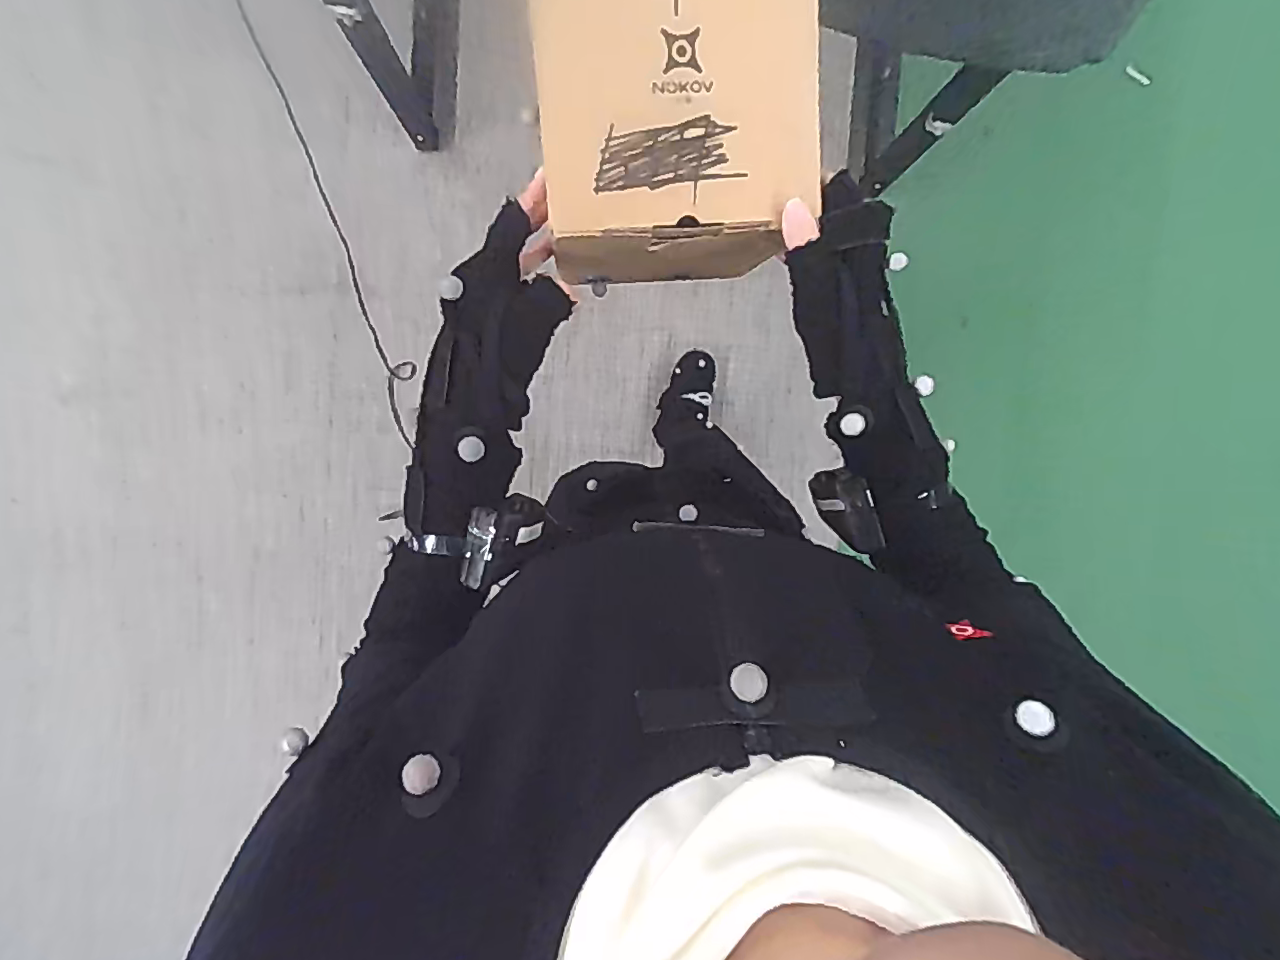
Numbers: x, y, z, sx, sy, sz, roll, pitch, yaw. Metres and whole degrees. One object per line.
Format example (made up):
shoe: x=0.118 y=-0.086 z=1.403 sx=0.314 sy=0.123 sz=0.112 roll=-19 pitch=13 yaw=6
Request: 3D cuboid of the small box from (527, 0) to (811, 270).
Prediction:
small box: x=0.012 y=-0.257 z=0.391 sx=0.168 sy=0.176 sz=0.179 roll=-4 pitch=99 yaw=-5
